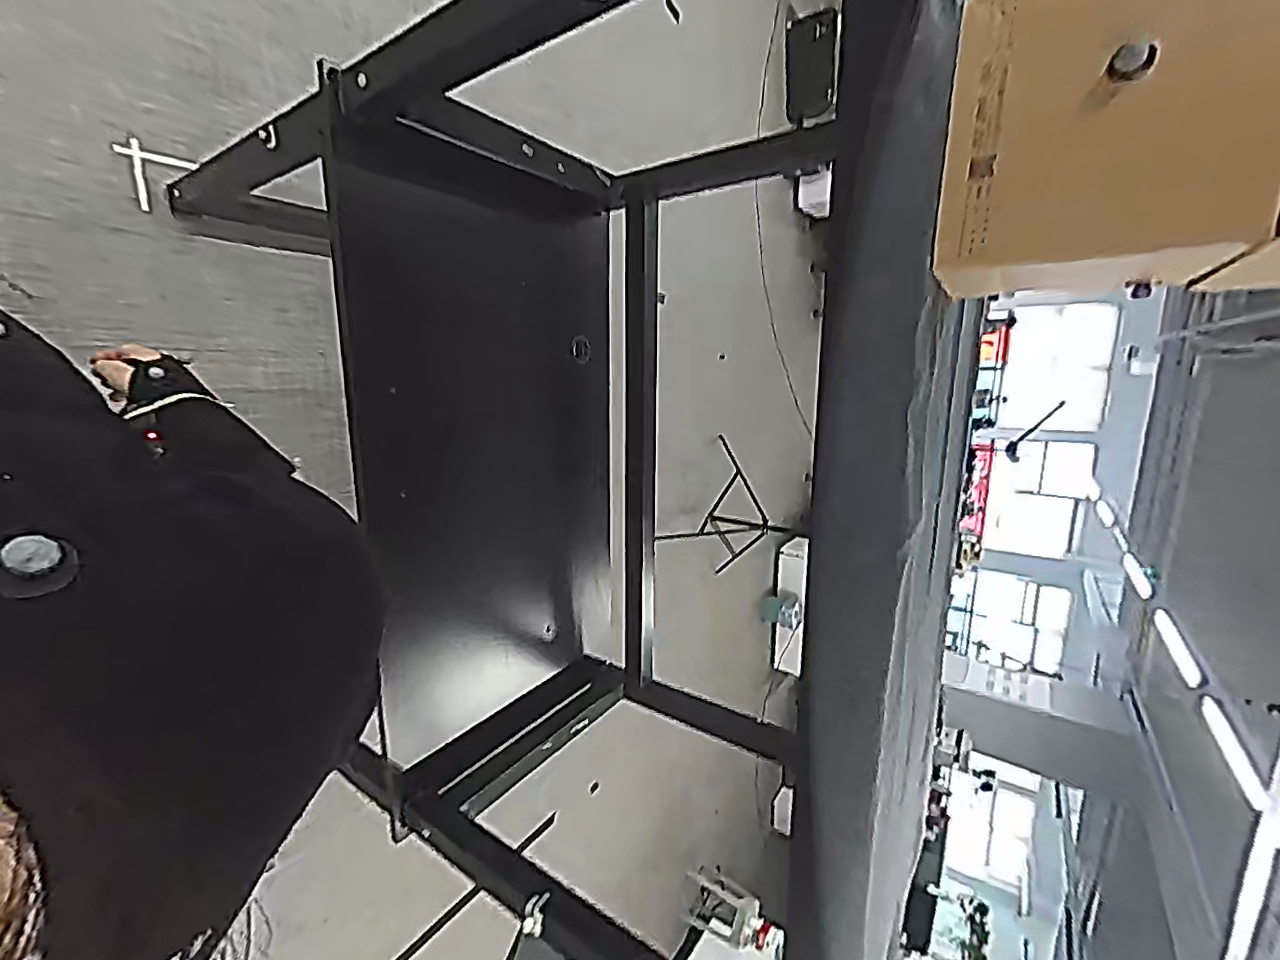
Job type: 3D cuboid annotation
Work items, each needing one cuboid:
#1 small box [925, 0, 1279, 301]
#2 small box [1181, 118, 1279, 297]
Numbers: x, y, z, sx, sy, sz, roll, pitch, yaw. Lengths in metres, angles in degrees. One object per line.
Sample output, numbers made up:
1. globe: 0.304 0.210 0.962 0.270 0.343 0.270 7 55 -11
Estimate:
1. small box: 0.316 -0.228 0.397 0.179 0.176 0.168 -17 111 -56
2. small box: 0.452 -0.206 0.312 0.179 0.176 0.168 -13 106 -56
